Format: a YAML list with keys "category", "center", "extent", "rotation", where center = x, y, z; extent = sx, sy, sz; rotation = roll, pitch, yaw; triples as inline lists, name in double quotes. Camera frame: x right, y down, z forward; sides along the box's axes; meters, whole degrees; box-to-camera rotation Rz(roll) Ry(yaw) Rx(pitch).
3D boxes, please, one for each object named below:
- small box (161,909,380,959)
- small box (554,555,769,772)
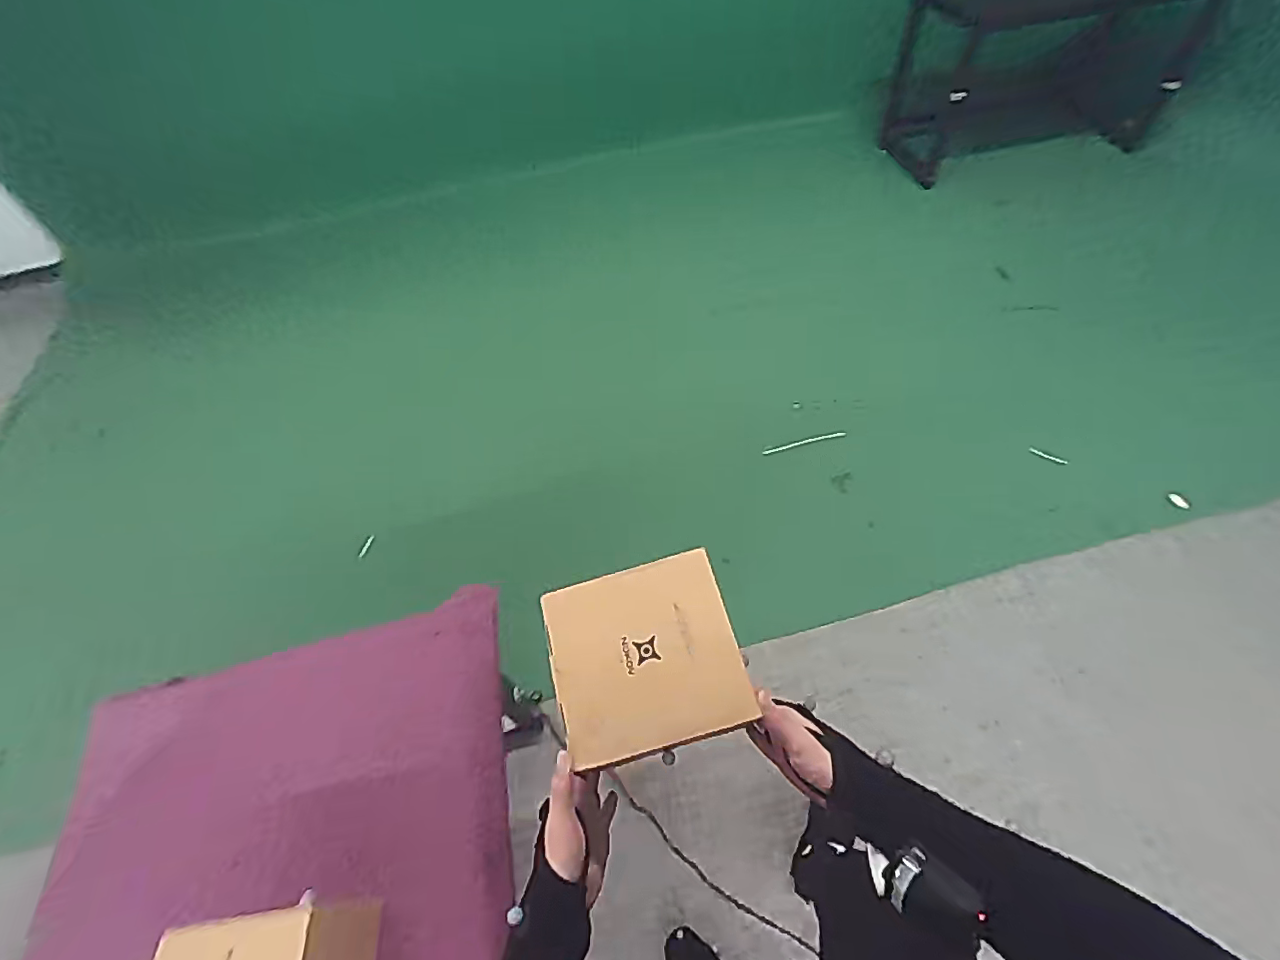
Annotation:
- category: "small box"
  center: [-0.416, 0.605, 0.603]
  extent: [0.168, 0.176, 0.179]
  rotation: [-9, 54, 0]
- category: "small box"
  center: [0.024, 0.202, 0.577]
  extent: [0.179, 0.176, 0.168]
  rotation: [-15, 63, 0]
